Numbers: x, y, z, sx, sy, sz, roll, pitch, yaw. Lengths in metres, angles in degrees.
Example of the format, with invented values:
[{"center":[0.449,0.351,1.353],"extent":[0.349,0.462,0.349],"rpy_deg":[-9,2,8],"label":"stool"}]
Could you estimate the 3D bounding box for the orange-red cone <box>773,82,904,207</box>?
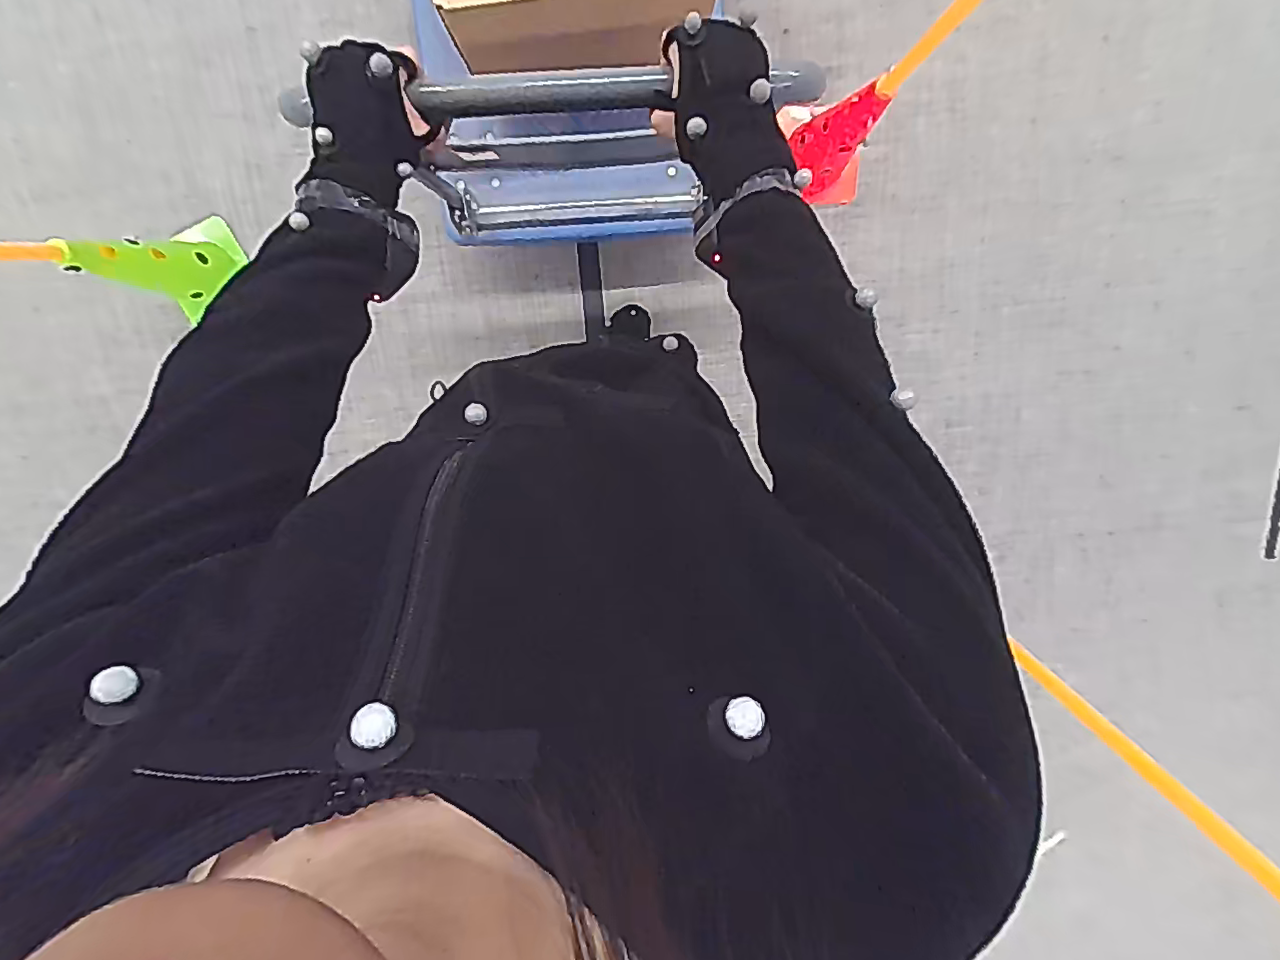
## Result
[{"center":[0.419,-0.692,1.074],"extent":[0.199,0.360,0.198],"rpy_deg":[1,105,-3],"label":"orange-red cone"}]
